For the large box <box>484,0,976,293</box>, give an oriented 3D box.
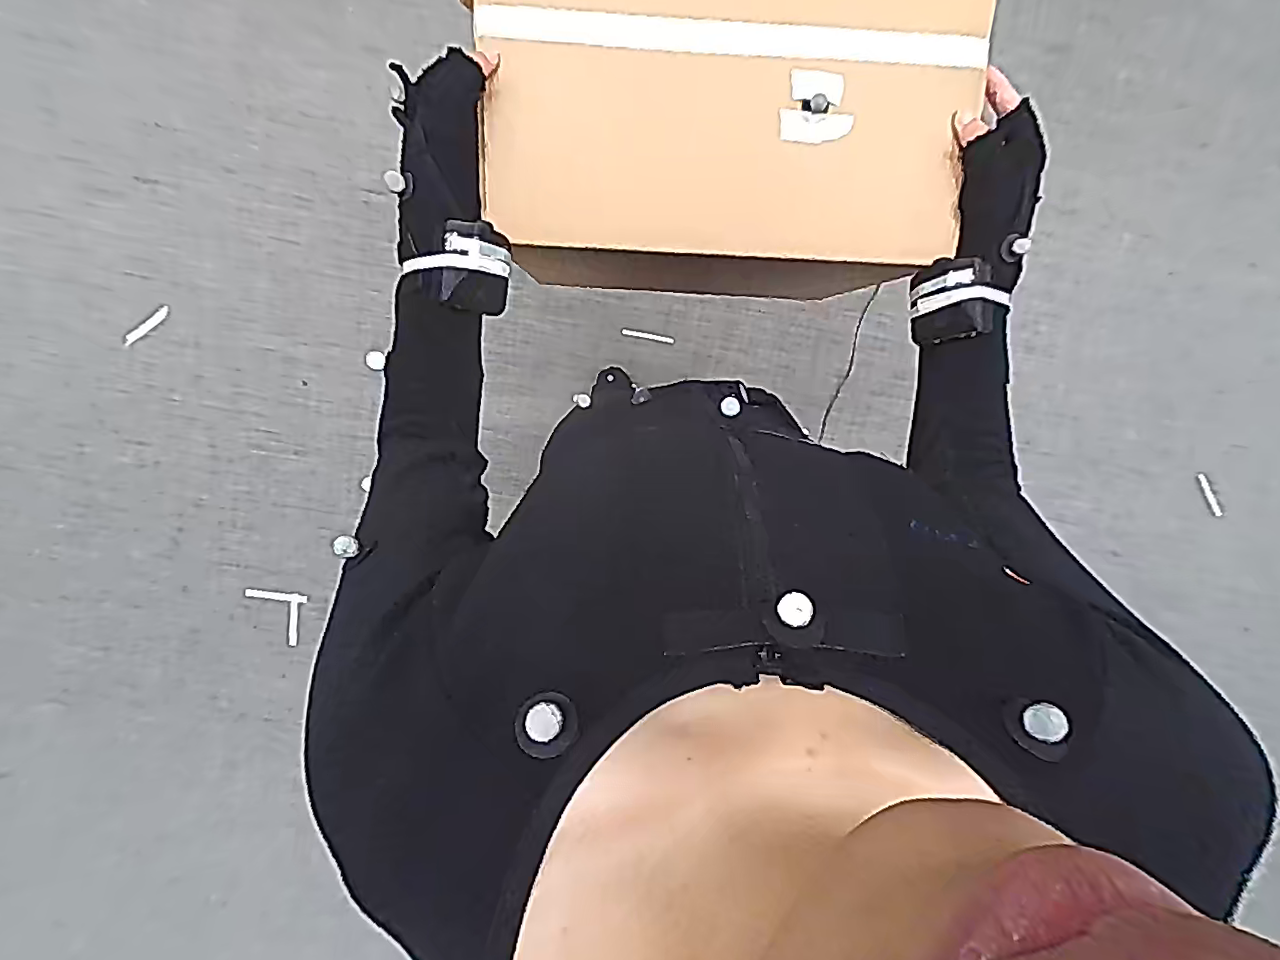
[{"bbox_3d":[0.065,-0.385,0.587,0.408,0.320,0.320,1,104,-3],"label":"large box"}]
